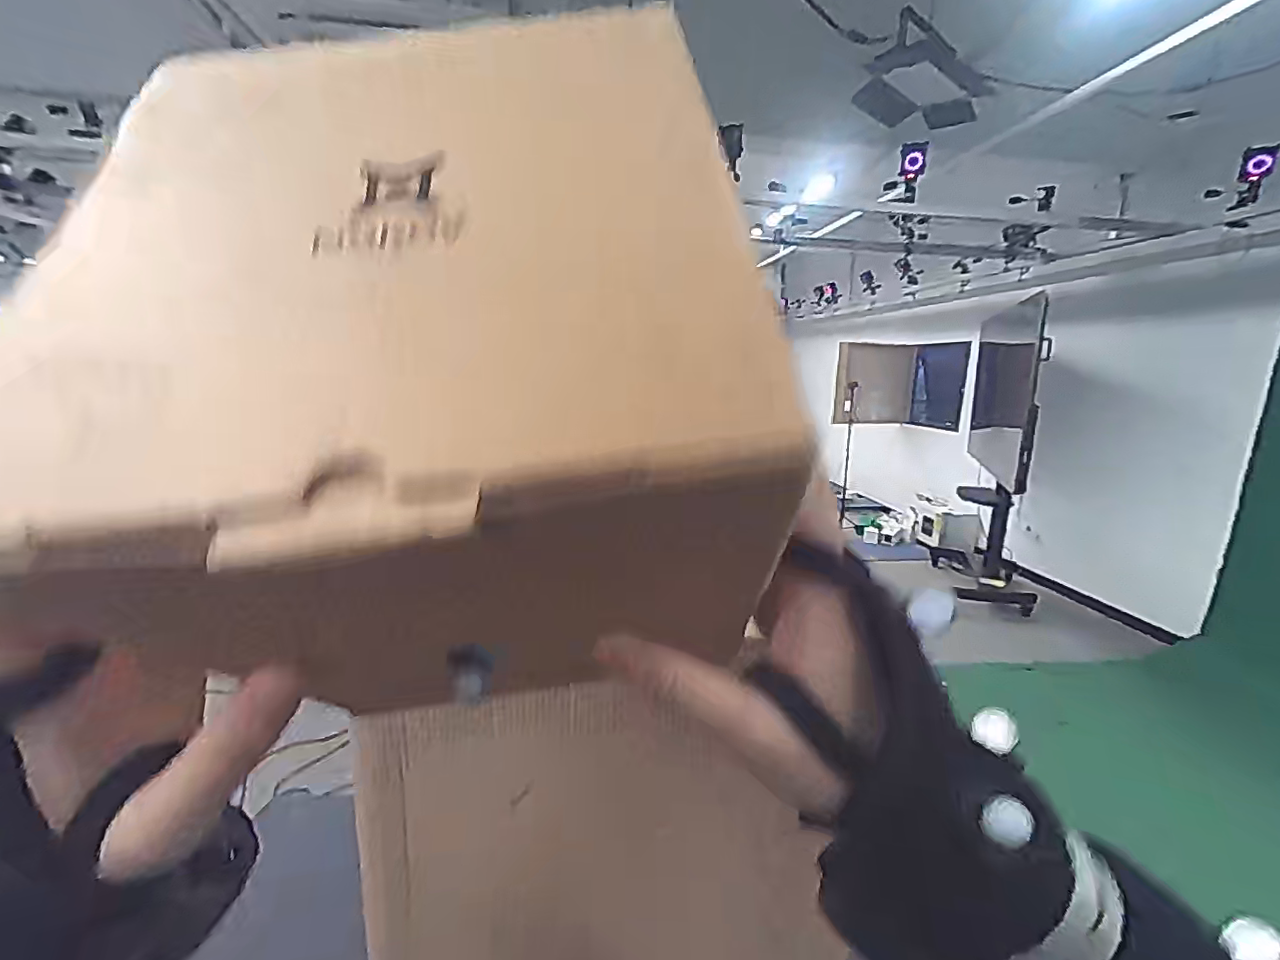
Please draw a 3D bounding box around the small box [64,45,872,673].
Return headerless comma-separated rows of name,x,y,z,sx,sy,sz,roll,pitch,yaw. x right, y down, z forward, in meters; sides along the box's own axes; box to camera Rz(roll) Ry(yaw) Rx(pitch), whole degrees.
small box,-0.040,-0.036,0.220,0.168,0.179,0.176,-7,-30,-2
